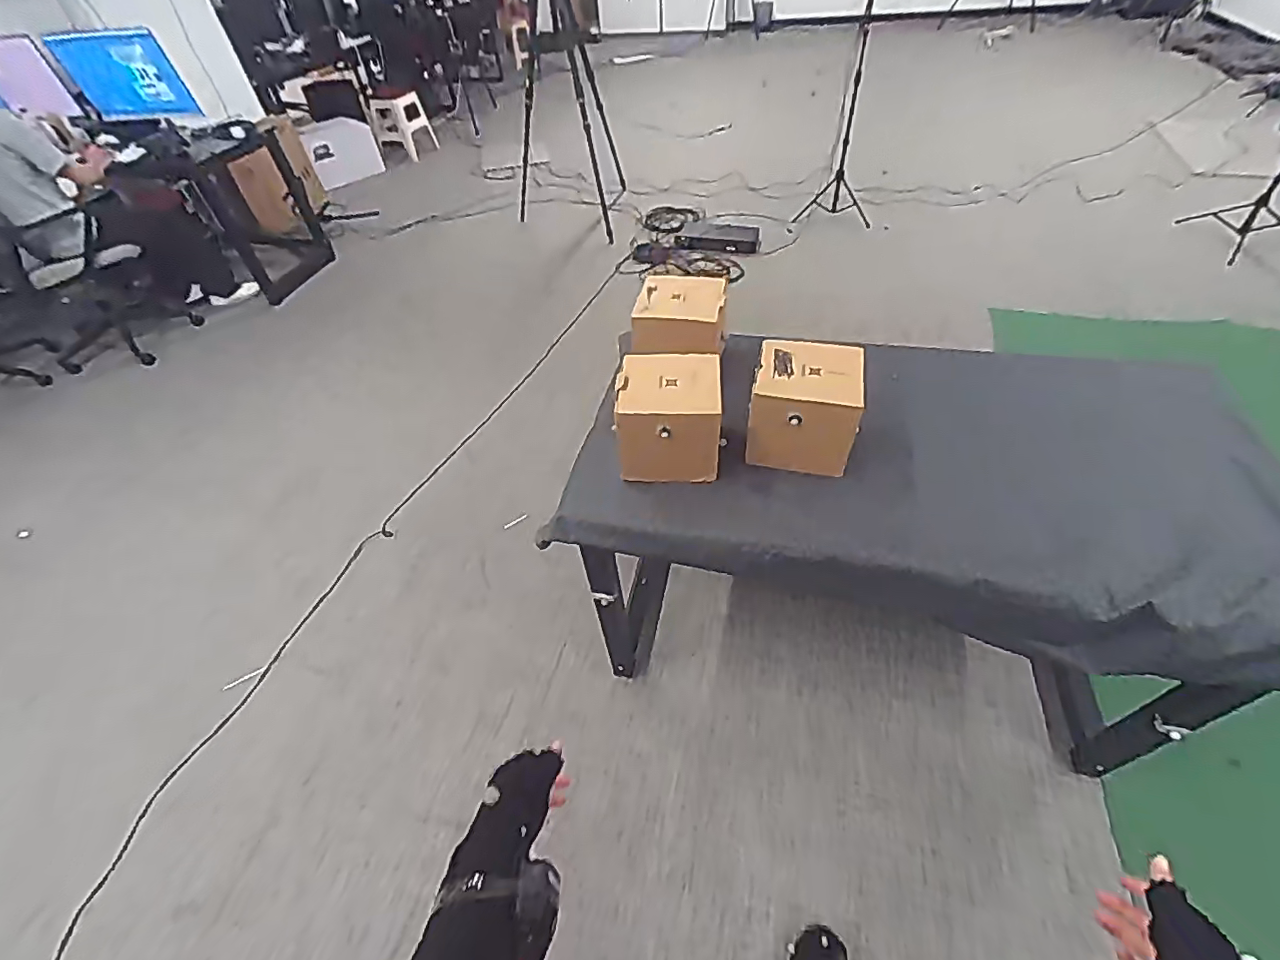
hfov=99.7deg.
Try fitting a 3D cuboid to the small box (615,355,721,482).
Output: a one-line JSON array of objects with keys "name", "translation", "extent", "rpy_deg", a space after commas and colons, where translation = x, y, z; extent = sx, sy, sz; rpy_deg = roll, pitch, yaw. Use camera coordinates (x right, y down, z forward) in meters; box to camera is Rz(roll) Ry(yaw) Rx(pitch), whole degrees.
[{"name": "small box", "translation": [0.056, -0.110, 0.988], "extent": [0.179, 0.176, 0.168], "rpy_deg": [2, 48, 6]}]

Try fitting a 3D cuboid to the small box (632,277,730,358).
[{"name": "small box", "translation": [0.091, -0.316, 1.172], "extent": [0.179, 0.176, 0.168], "rpy_deg": [8, 50, 11]}]
